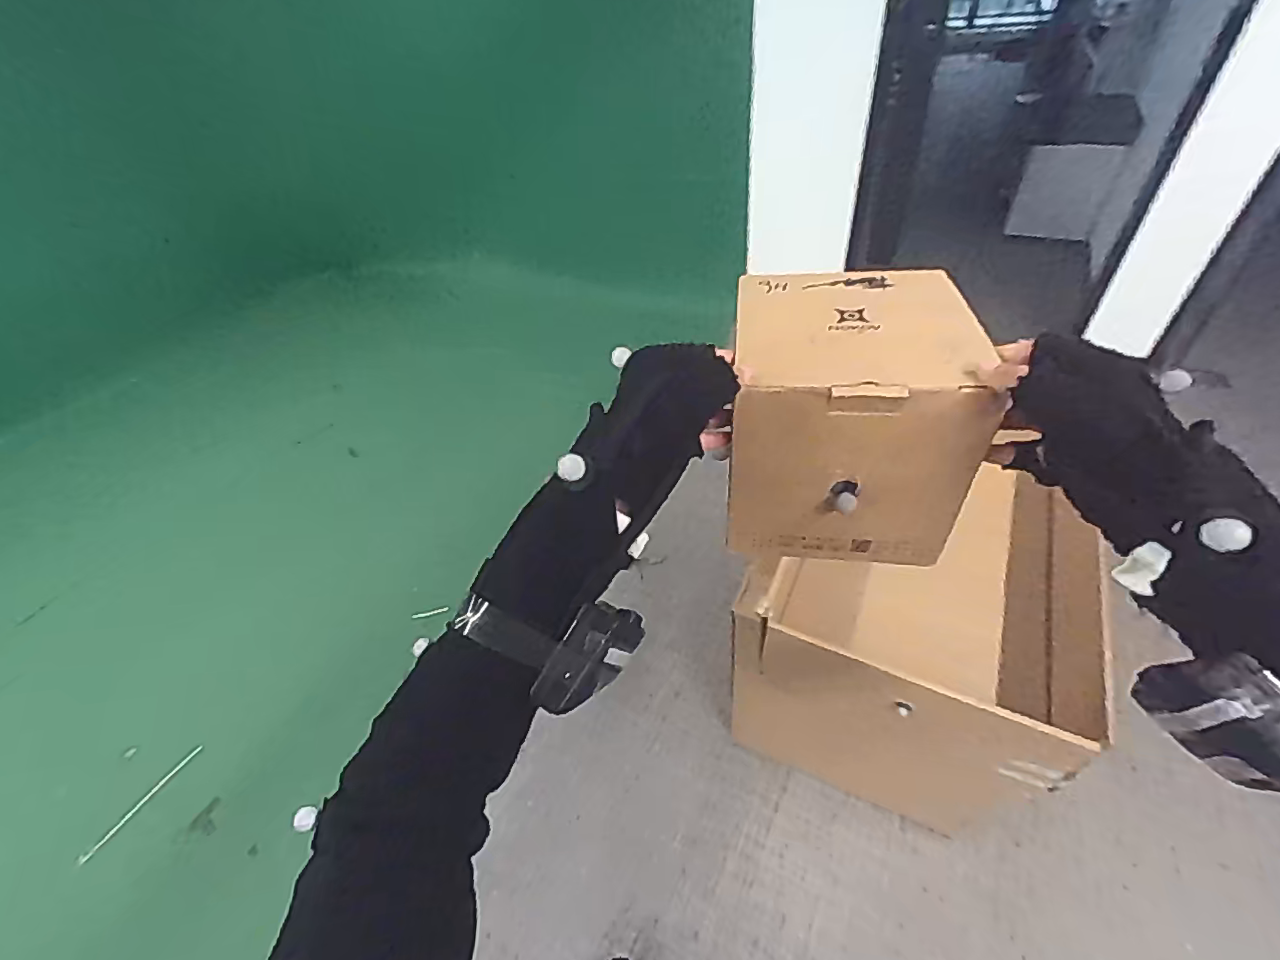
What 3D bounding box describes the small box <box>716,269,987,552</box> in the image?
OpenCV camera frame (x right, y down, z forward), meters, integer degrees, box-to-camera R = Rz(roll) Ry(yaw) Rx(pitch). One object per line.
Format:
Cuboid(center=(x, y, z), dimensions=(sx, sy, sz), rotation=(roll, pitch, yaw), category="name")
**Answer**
Cuboid(center=(0.151, -0.057, 0.452), dimensions=(0.168, 0.176, 0.179), rotation=(3, 45, 9), category="small box")
